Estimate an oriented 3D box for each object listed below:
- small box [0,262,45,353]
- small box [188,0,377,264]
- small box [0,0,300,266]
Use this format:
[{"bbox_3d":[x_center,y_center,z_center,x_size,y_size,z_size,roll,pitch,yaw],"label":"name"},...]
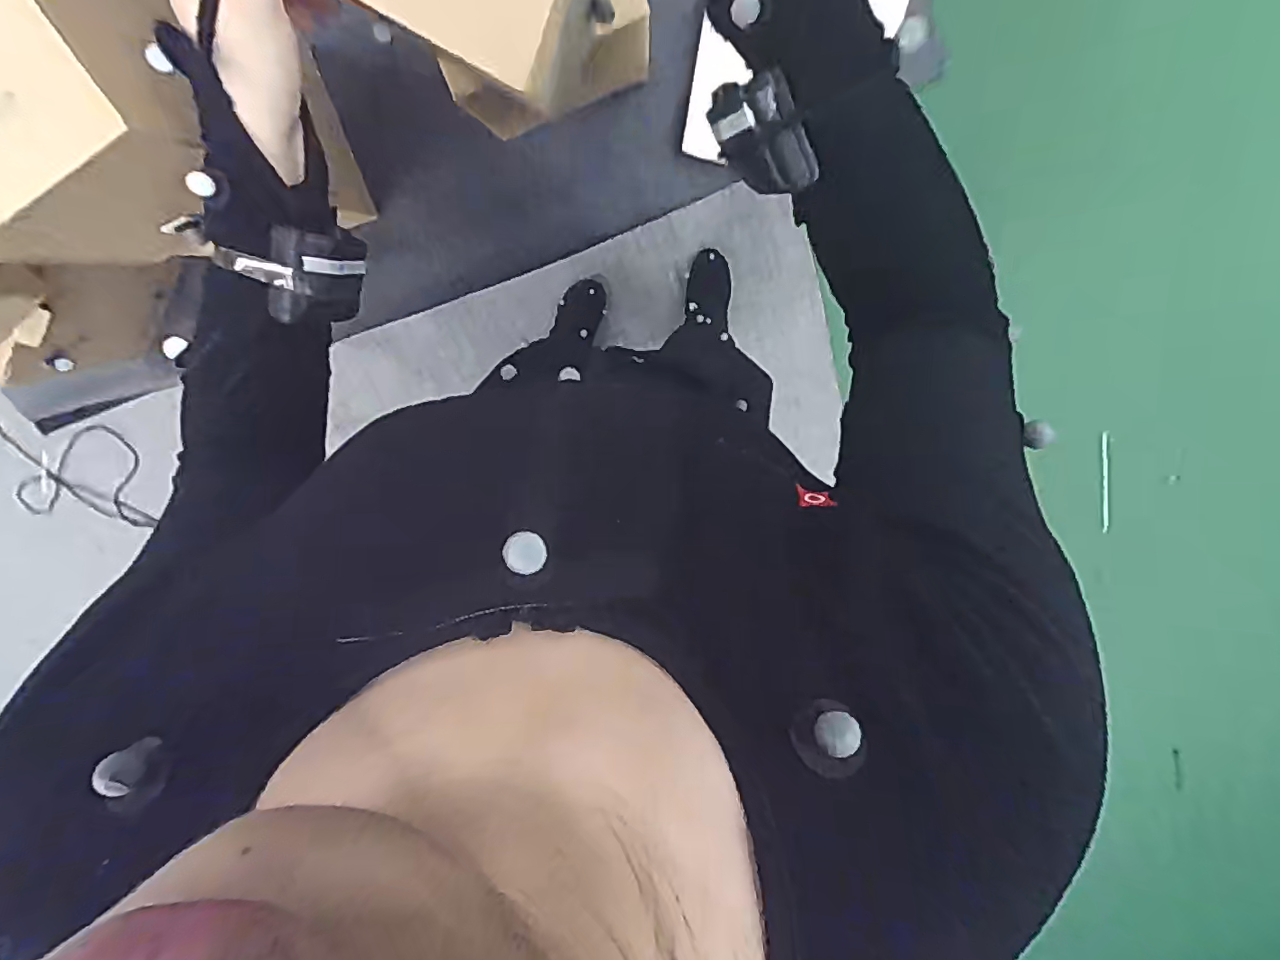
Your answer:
[{"bbox_3d":[-0.671,-0.163,0.438,0.179,0.176,0.168,-31,107,13],"label":"small box"},{"bbox_3d":[-0.405,-0.328,0.542,0.168,0.176,0.179,-14,110,8],"label":"small box"},{"bbox_3d":[-0.405,-0.270,0.390,0.168,0.176,0.179,-25,109,12],"label":"small box"}]
